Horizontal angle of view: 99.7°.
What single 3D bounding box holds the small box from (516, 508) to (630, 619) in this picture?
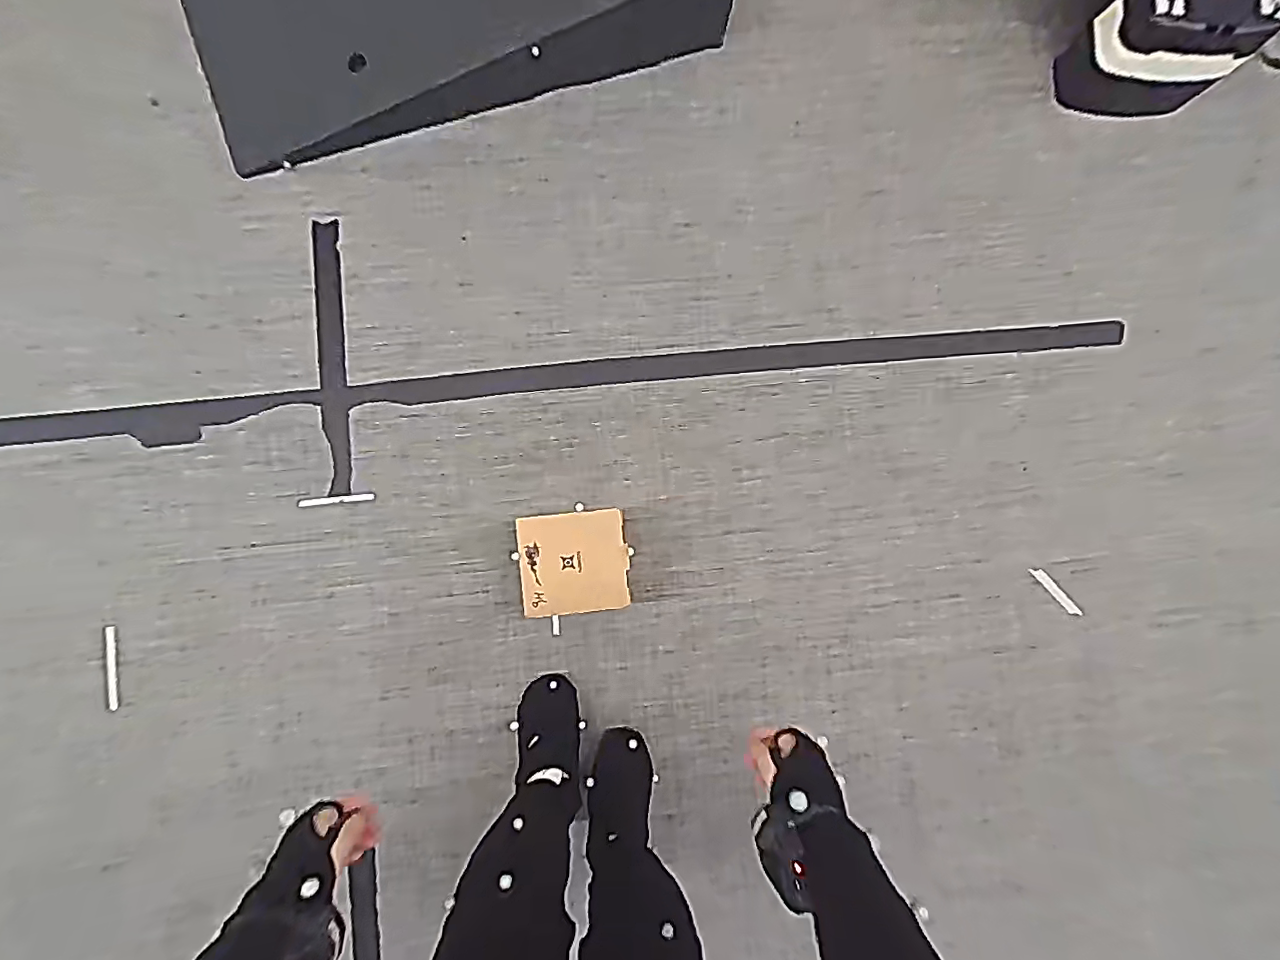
[{"bbox_3d":[-0.115,0.137,0.950,0.179,0.176,0.168,-5,88,-5],"label":"small box"}]
